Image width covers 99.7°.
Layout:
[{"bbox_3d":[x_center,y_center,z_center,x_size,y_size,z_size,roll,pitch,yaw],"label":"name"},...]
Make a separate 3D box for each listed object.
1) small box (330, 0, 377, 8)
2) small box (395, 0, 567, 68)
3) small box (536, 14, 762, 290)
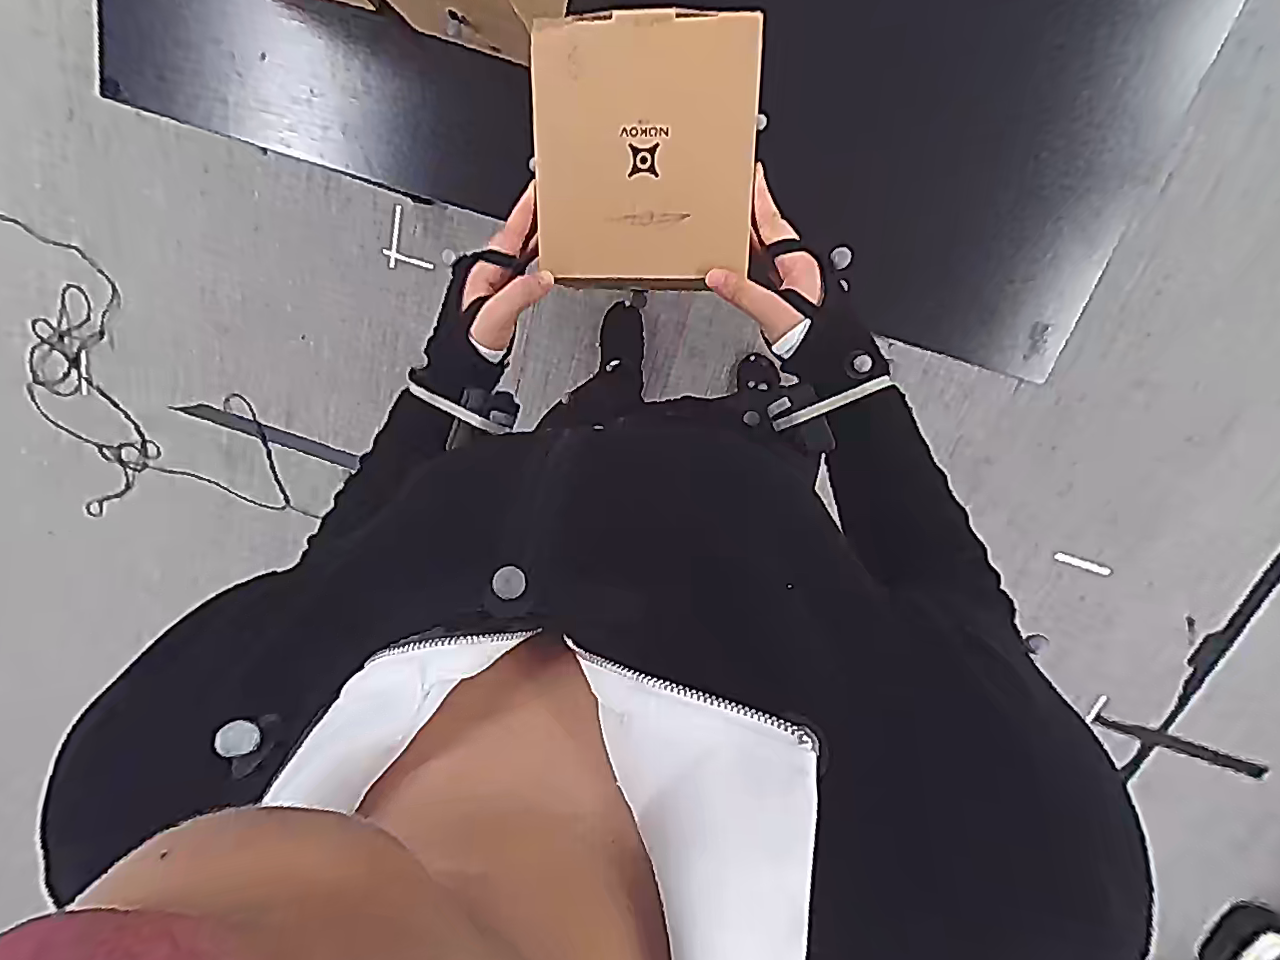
[{"bbox_3d":[-0.364,-0.604,0.517,0.179,0.176,0.168,15,108,0],"label":"small box"},{"bbox_3d":[-0.159,-0.540,0.516,0.168,0.176,0.179,18,109,0],"label":"small box"},{"bbox_3d":[0.009,-0.270,0.485,0.168,0.176,0.179,2,107,5],"label":"small box"}]
